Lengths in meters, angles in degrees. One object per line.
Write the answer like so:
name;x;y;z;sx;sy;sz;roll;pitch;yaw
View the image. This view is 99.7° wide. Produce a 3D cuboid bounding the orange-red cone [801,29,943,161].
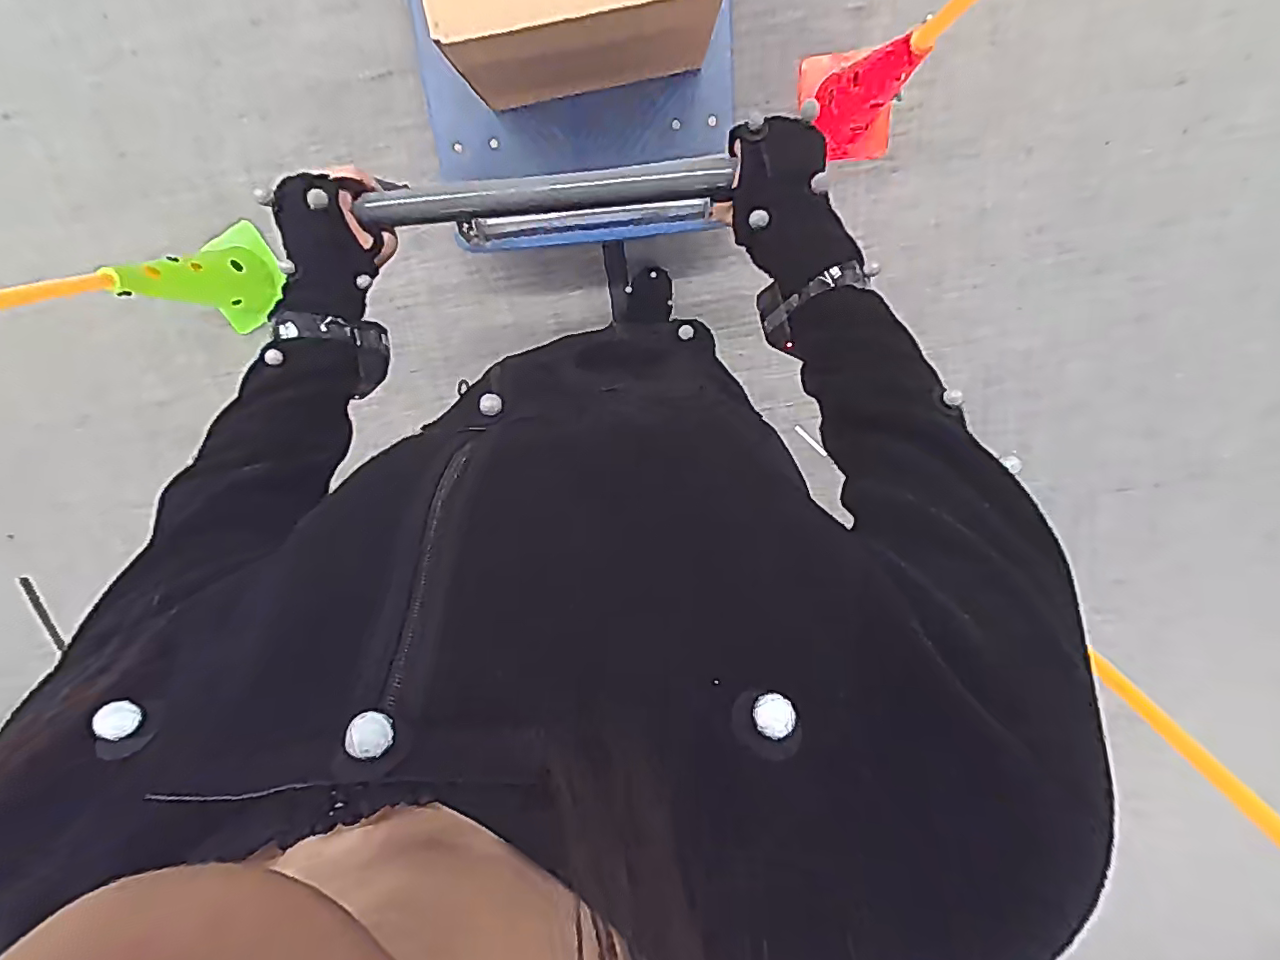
orange-red cone;0.452;-0.738;1.000;0.199;0.360;0.198;-2;110;0
